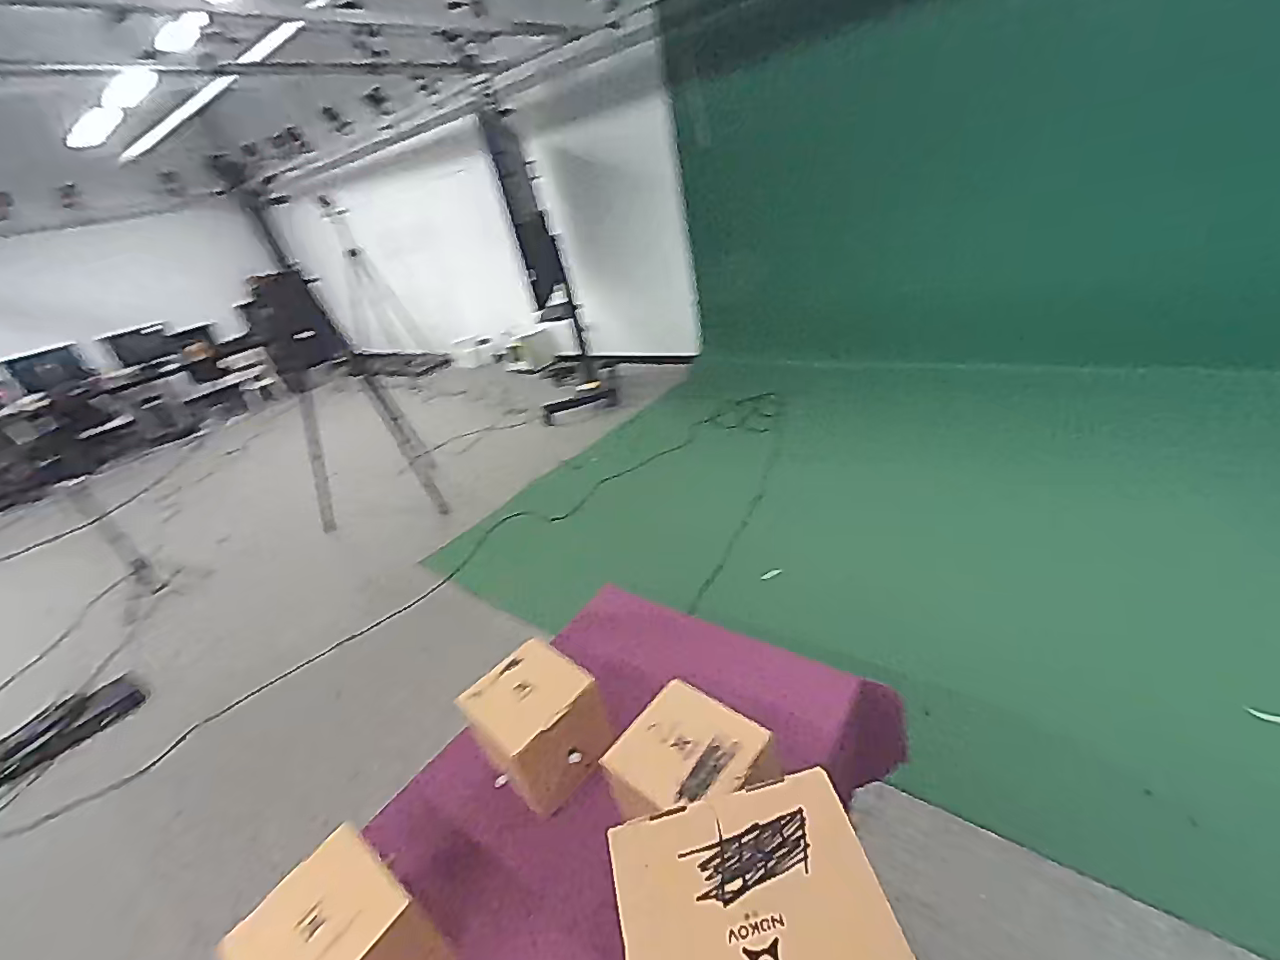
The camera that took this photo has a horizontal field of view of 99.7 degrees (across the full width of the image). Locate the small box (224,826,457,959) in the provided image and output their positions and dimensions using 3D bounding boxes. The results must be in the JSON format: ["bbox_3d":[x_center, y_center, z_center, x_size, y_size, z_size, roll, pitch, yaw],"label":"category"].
[{"bbox_3d":[-0.368,0.597,0.681,0.179,0.176,0.168,12,38,38],"label":"small box"}]

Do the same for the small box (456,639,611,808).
[{"bbox_3d":[-0.173,0.413,0.918,0.179,0.176,0.168,17,41,42],"label":"small box"}]

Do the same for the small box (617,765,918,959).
[{"bbox_3d":[0.087,0.339,0.374,0.168,0.176,0.179,-14,39,-3],"label":"small box"}]
